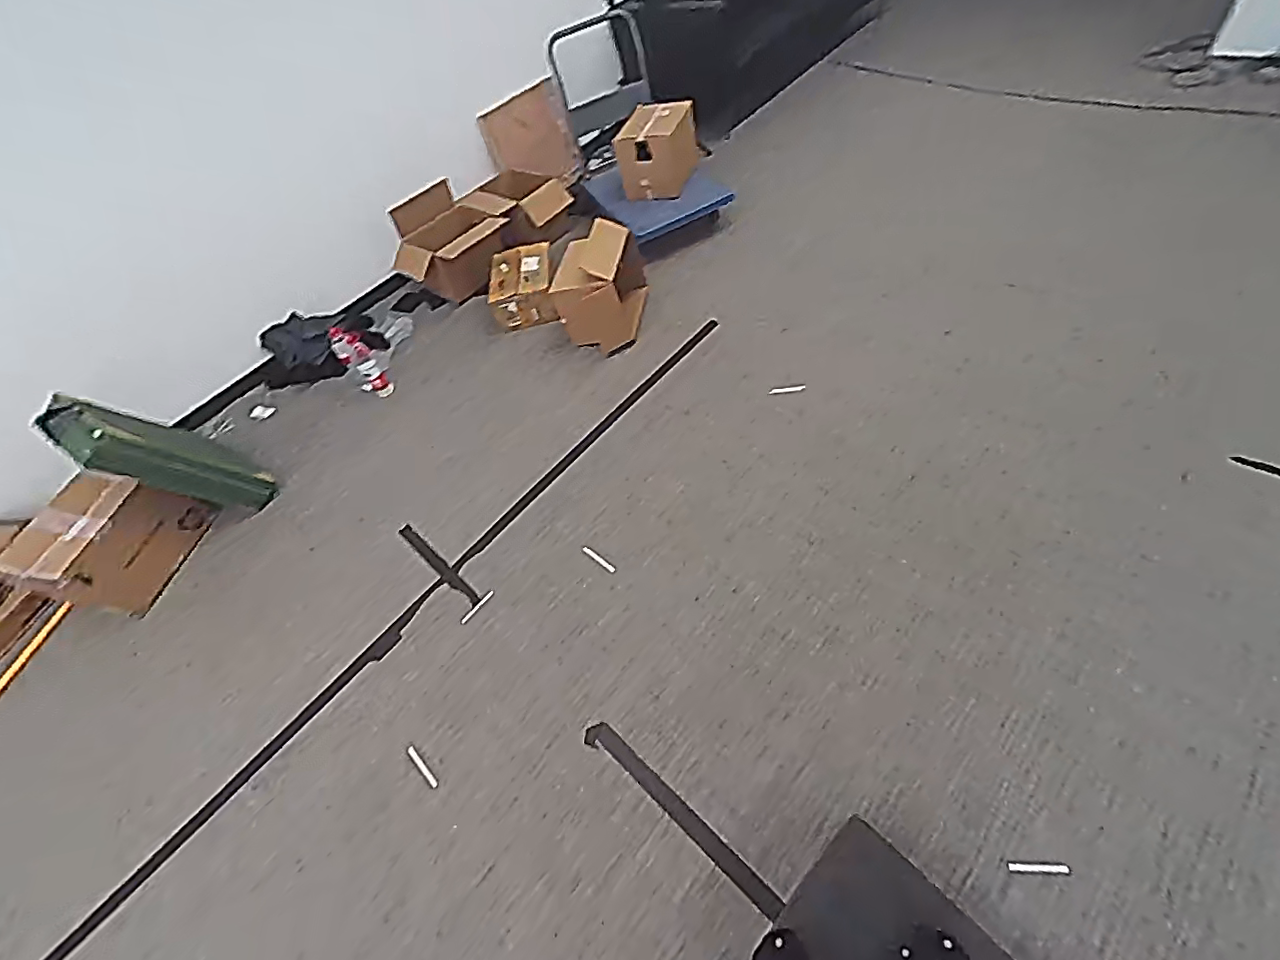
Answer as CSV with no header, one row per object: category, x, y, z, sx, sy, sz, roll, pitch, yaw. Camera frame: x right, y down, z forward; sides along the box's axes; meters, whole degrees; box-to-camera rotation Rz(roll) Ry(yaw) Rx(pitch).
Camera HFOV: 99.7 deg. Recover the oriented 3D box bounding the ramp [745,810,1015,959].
ramp,0.645,1.146,0.904,0.991,0.206,0.509,32,66,31
